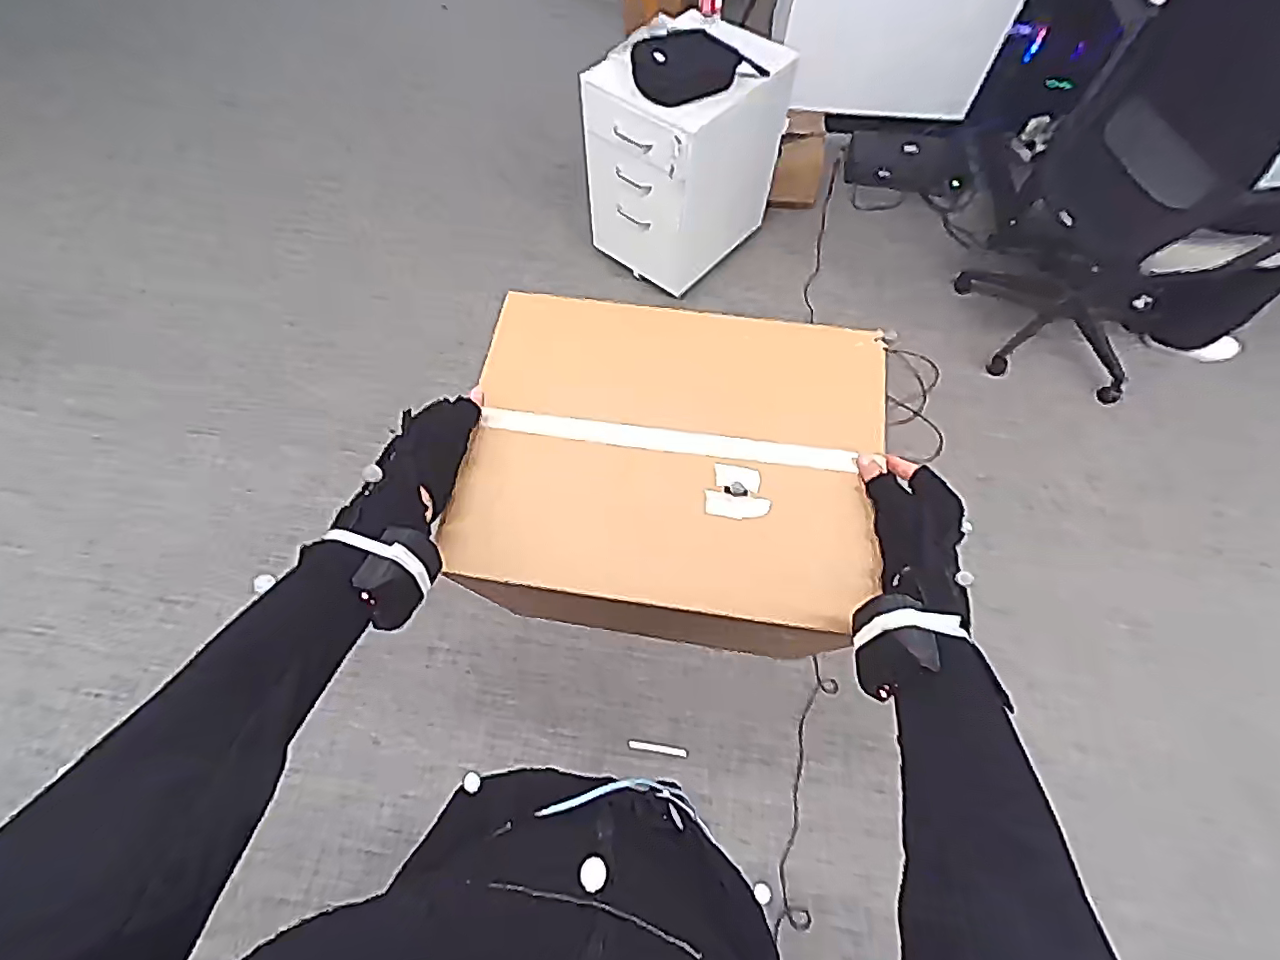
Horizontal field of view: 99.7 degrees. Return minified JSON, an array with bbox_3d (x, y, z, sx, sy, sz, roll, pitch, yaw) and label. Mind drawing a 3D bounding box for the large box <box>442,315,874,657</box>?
[{"bbox_3d":[0.031,0.030,0.681,0.408,0.320,0.320,7,69,4],"label":"large box"}]
